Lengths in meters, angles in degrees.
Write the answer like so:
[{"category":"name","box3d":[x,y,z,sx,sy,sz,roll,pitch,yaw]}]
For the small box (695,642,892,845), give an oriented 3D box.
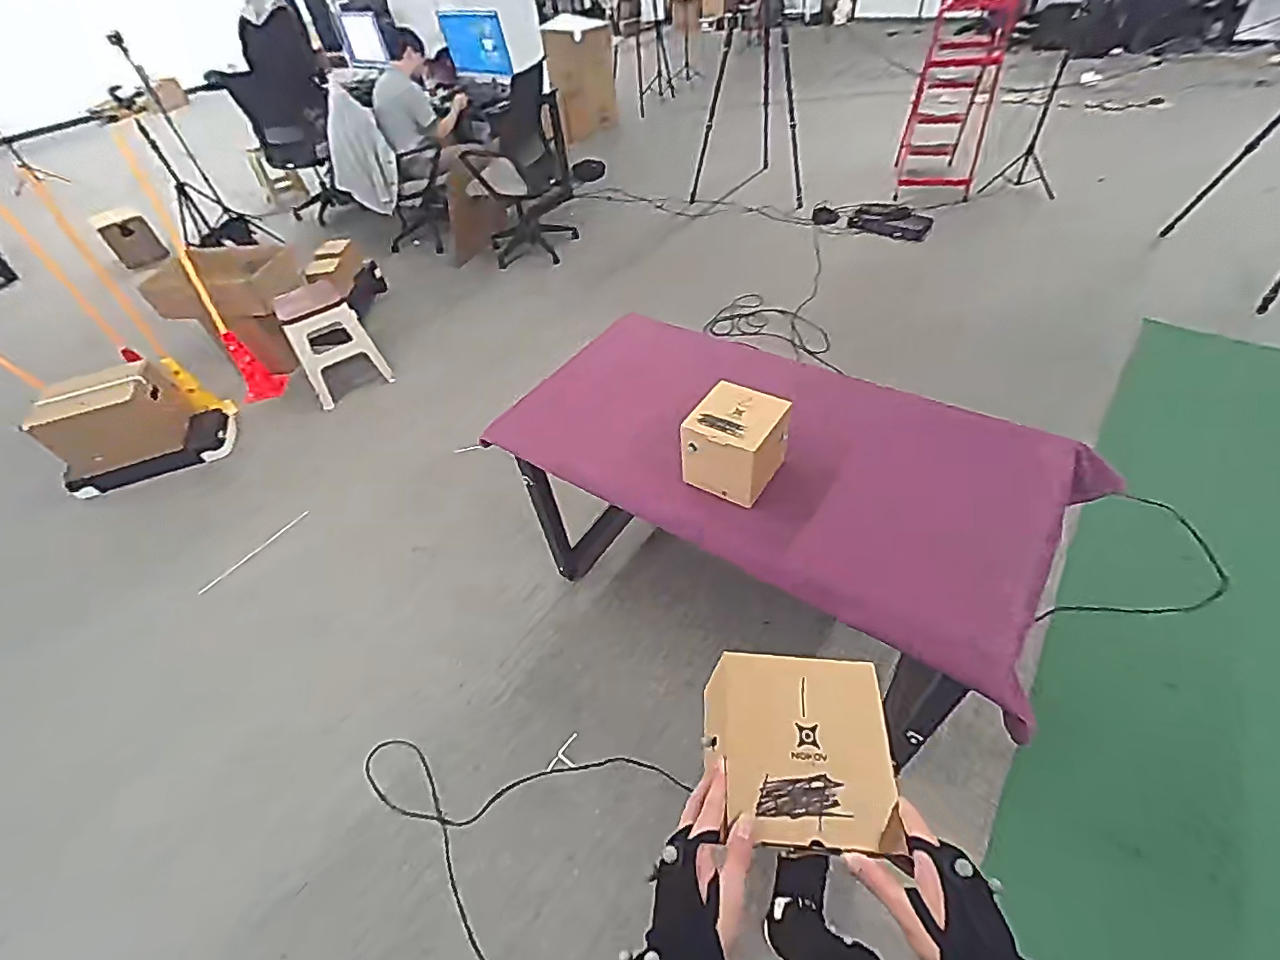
[{"category":"small box","box3d":[0.154,0.299,0.607,0.168,0.176,0.179,5,55,0]}]
